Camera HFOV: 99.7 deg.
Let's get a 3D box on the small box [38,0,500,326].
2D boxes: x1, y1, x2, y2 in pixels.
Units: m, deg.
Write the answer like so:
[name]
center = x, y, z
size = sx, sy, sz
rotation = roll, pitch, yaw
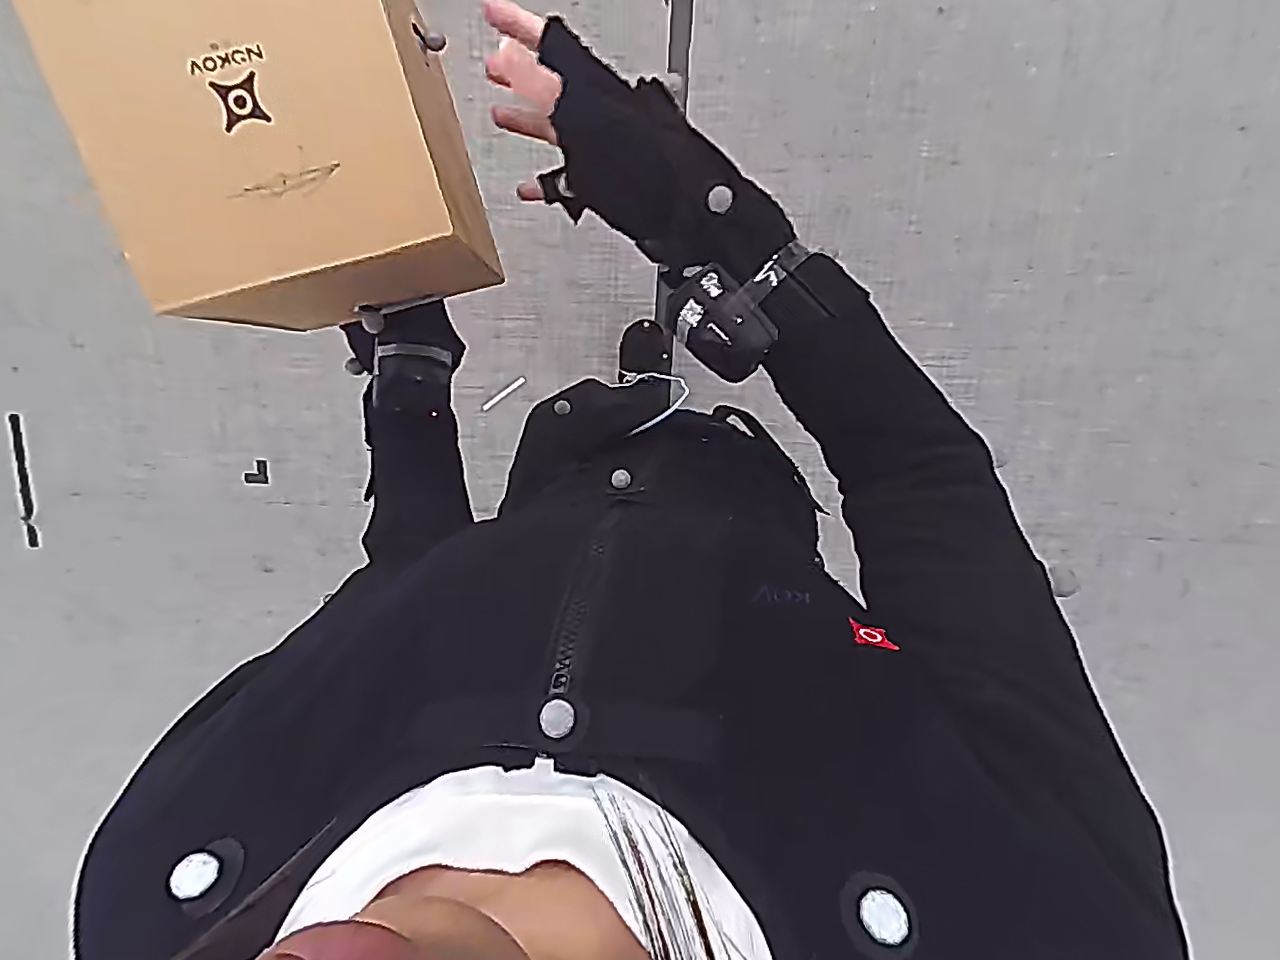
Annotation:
[small box]
center = -0.206, -0.212, 0.357
size = 0.168, 0.176, 0.179
rotation = -15, 103, -1
